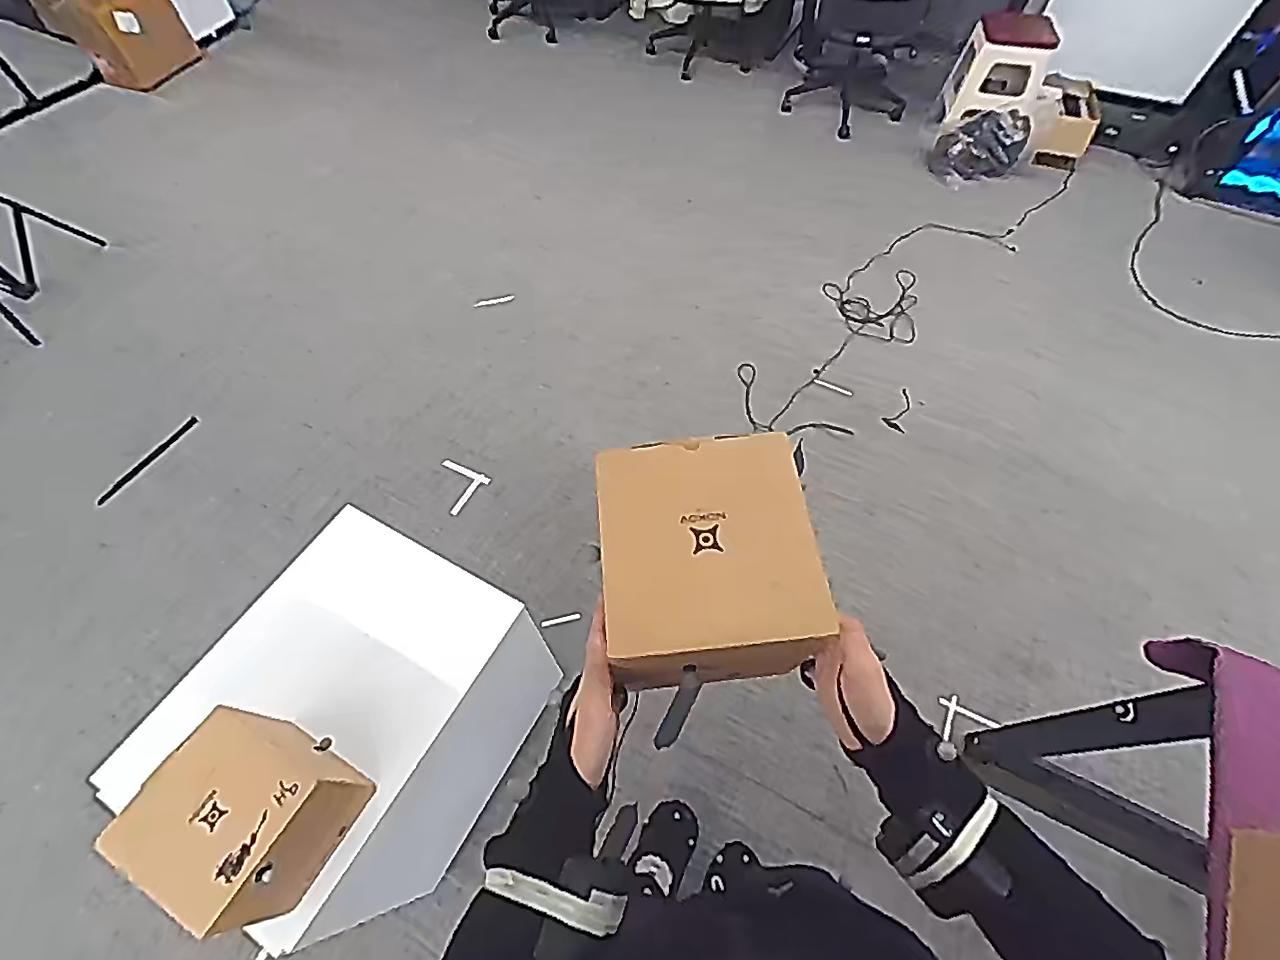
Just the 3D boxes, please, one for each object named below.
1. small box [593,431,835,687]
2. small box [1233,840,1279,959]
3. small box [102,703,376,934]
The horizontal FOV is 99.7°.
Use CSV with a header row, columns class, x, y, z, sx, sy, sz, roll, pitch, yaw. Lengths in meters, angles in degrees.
class,x,y,z,sx,sy,sz,roll,pitch,yaw
small box,0.052,0.081,0.483,0.168,0.176,0.179,-6,60,-1
small box,0.697,0.460,0.481,0.168,0.176,0.179,29,63,16
small box,-0.477,0.411,0.672,0.179,0.176,0.168,25,62,15
